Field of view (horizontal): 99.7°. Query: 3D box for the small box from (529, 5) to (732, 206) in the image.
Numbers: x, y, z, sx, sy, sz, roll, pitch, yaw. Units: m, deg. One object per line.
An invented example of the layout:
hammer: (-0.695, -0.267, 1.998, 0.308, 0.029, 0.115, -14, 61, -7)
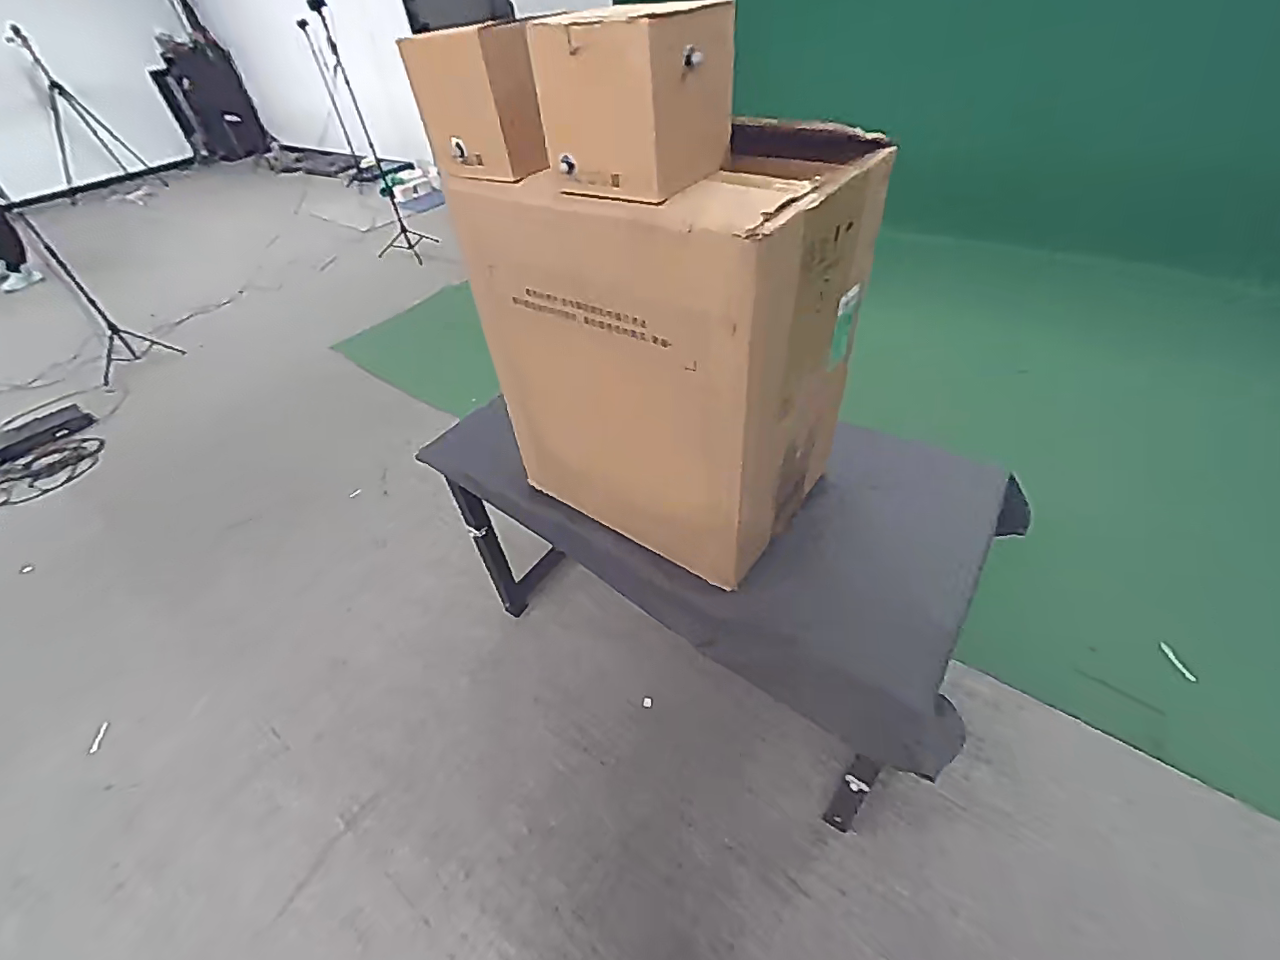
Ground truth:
small box: (-0.001, -0.448, 0.654, 0.168, 0.176, 0.179, 23, 50, 28)

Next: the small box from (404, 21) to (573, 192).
small box: (-0.193, -0.537, 0.782, 0.168, 0.176, 0.179, 21, 51, 30)
